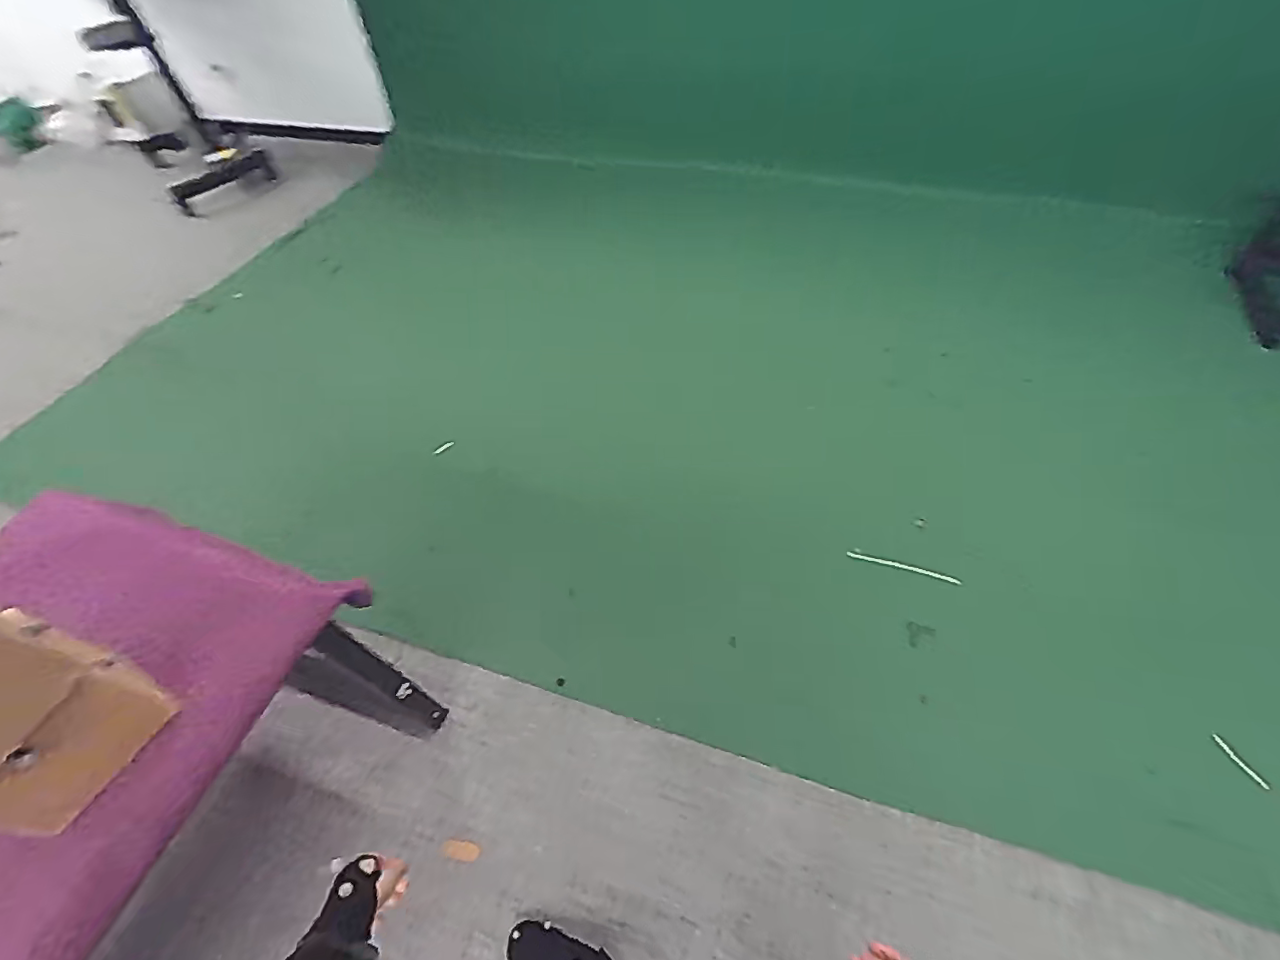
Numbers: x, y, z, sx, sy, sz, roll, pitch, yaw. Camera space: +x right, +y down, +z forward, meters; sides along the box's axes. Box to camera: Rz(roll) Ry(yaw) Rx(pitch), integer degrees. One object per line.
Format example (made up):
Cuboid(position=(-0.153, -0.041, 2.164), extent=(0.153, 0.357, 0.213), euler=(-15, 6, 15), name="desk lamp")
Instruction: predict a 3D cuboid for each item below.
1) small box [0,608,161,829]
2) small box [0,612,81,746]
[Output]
Cuboid(position=(-0.756, 0.295, 0.667), extent=(0.168, 0.176, 0.179), euler=(21, 58, 20), name="small box")
Cuboid(position=(-0.738, 0.205, 0.529), extent=(0.168, 0.176, 0.179), euler=(17, 56, 16), name="small box")
